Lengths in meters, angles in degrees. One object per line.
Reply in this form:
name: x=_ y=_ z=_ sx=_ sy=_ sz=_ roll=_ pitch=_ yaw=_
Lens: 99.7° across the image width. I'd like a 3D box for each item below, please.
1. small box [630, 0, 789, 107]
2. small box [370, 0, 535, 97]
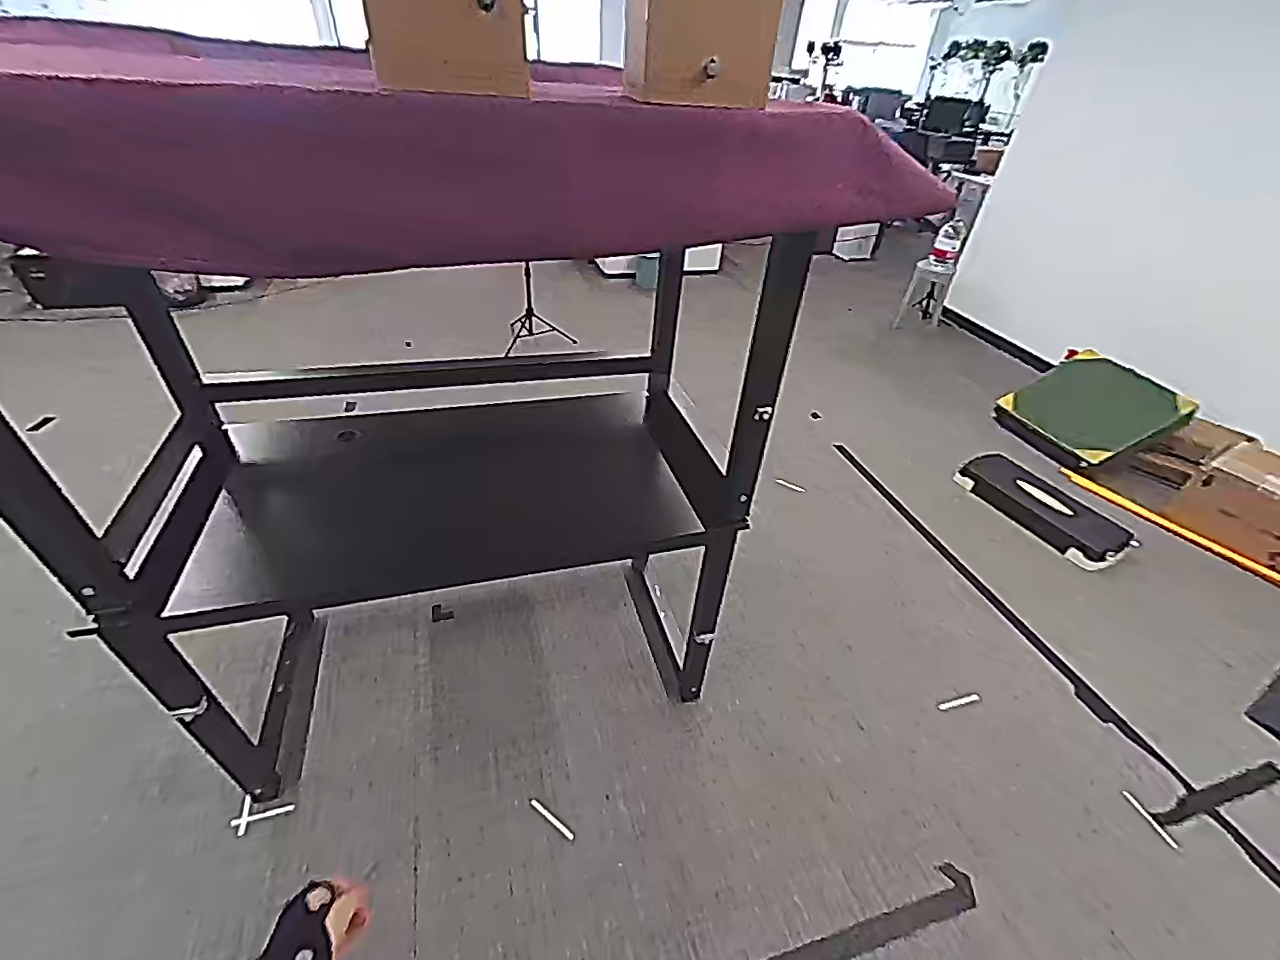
small box: x=0.087 y=-0.615 z=0.734 sx=0.179 sy=0.176 sz=0.168 roll=-4 pitch=38 yaw=-11
small box: x=-0.220 y=-0.568 z=0.649 sx=0.179 sy=0.176 sz=0.168 roll=-6 pitch=38 yaw=-13
